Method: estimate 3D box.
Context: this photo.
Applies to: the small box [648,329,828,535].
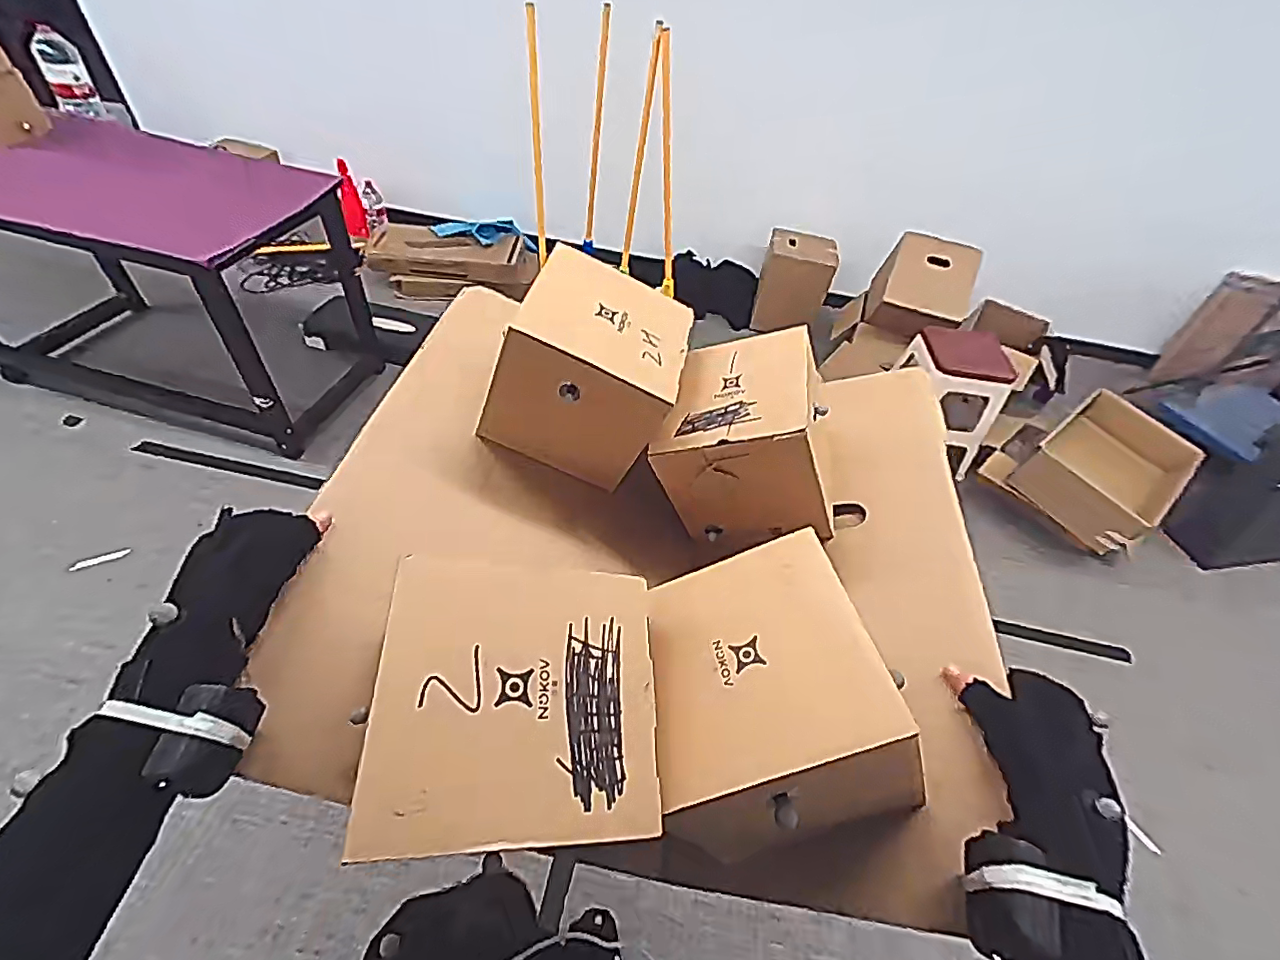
[{"bbox_3d":[0.128,-0.046,0.649,0.168,0.176,0.179,-7,45,24],"label":"small box"}]
